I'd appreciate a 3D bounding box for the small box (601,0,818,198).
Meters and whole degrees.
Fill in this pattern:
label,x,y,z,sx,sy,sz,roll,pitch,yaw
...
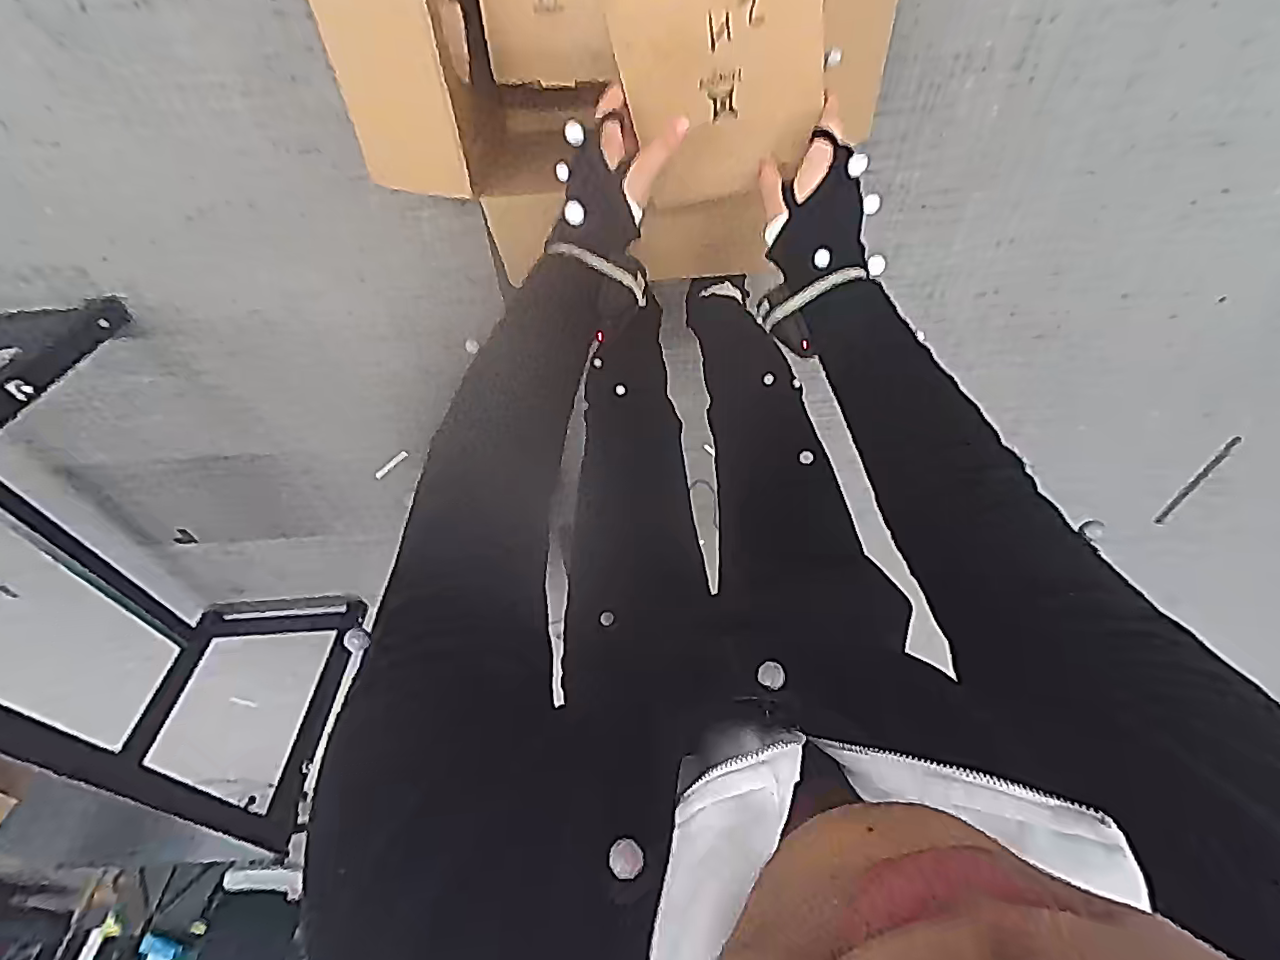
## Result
label,x,y,z,sx,sy,sz,roll,pitch,yaw
small box,0.078,-0.403,0.504,0.168,0.176,0.179,-2,144,17
